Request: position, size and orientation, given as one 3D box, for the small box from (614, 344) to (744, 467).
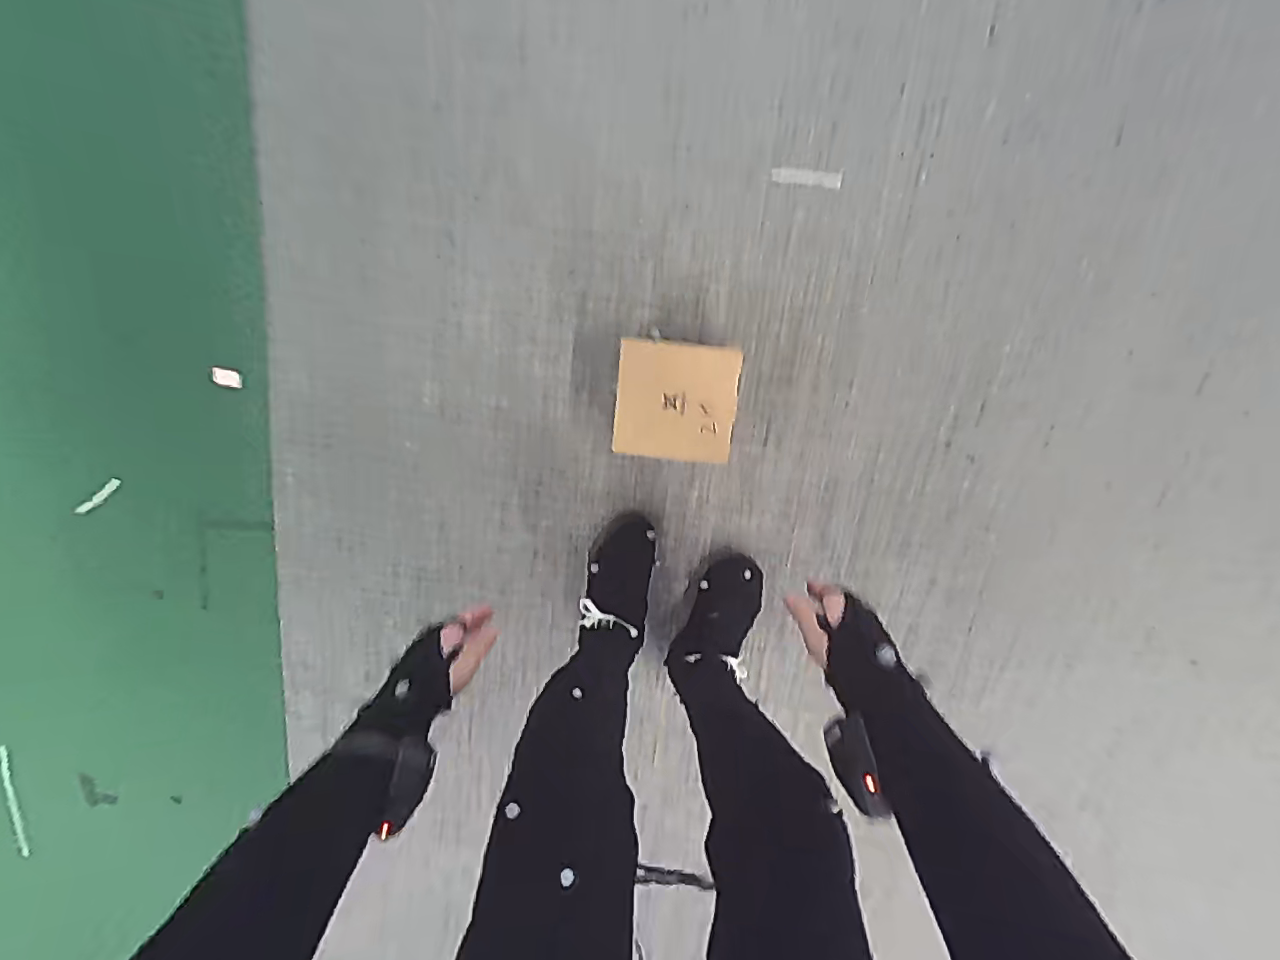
[{"bbox_3d":[0.060,-0.125,0.872,0.179,0.176,0.168,6,104,1],"label":"small box"}]
